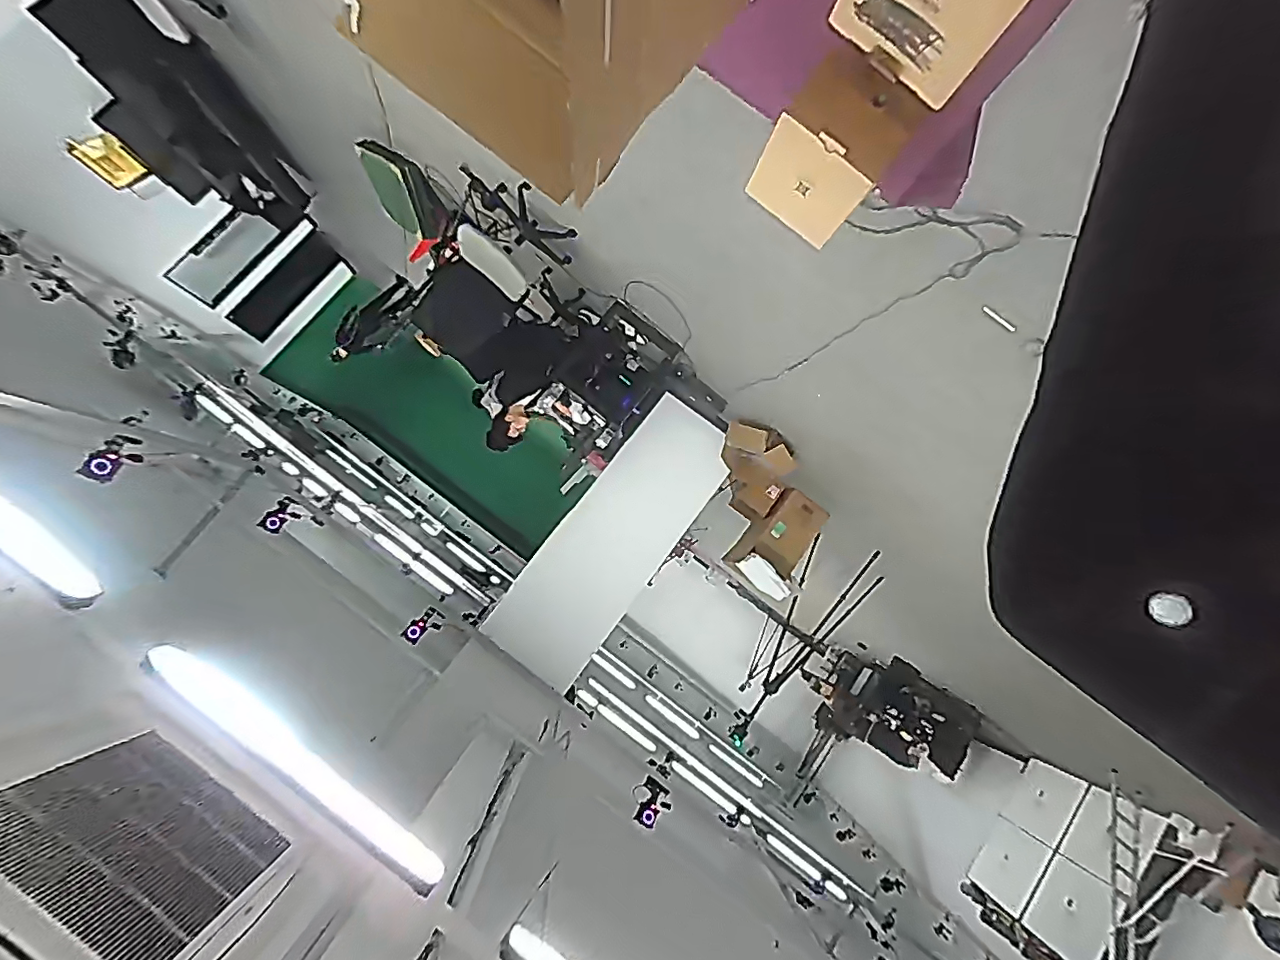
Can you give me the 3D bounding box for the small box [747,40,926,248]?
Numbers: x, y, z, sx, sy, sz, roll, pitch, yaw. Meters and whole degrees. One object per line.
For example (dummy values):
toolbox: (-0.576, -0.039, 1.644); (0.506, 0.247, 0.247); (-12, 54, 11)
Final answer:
small box: (0.302, -0.515, 0.845); (0.168, 0.176, 0.179); (38, 170, -1)
